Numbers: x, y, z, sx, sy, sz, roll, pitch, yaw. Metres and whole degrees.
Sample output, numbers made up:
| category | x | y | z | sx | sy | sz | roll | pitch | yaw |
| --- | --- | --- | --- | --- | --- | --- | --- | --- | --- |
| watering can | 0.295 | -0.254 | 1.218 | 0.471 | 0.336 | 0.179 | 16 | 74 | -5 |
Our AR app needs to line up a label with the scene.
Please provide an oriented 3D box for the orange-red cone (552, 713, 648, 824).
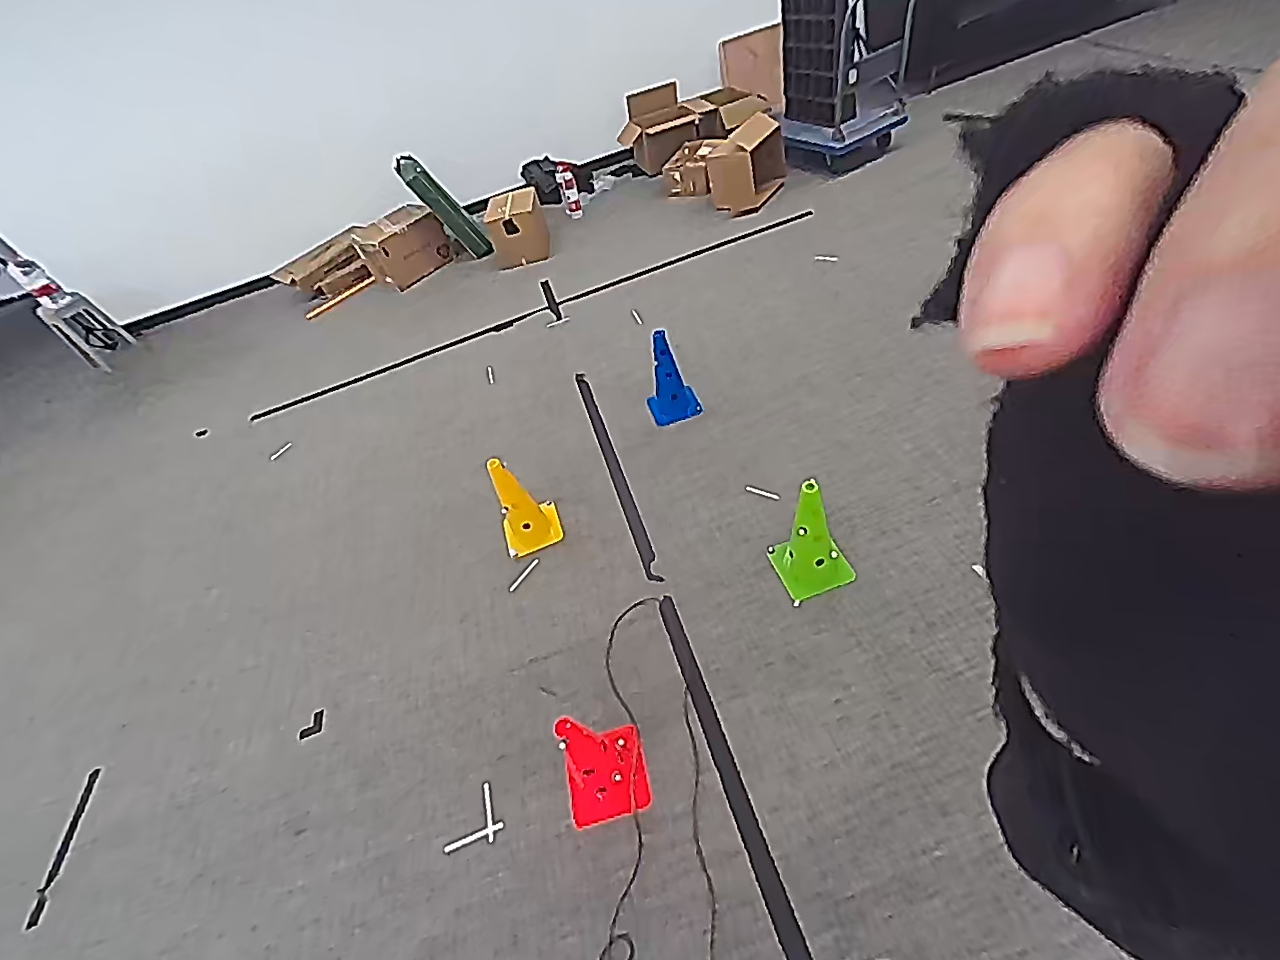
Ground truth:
| category | x | y | z | sx | sy | sz | roll | pitch | yaw |
| --- | --- | --- | --- | --- | --- | --- | --- | --- | --- |
| orange-red cone | -0.125 | 0.619 | 1.235 | 0.199 | 0.360 | 0.198 | -18 | 44 | 1 |

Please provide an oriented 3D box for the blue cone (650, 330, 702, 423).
| category | x | y | z | sx | sy | sz | roll | pitch | yaw |
| --- | --- | --- | --- | --- | --- | --- | --- | --- | --- |
| blue cone | 0.112 | -0.423 | 2.140 | 0.192 | 0.380 | 0.193 | -17 | 46 | -1 |

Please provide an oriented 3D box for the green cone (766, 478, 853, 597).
| category | x | y | z | sx | sy | sz | roll | pitch | yaw |
| --- | --- | --- | --- | --- | --- | --- | --- | --- | --- |
| green cone | 0.471 | 0.131 | 1.500 | 0.202 | 0.368 | 0.200 | -20 | 46 | -3 |
